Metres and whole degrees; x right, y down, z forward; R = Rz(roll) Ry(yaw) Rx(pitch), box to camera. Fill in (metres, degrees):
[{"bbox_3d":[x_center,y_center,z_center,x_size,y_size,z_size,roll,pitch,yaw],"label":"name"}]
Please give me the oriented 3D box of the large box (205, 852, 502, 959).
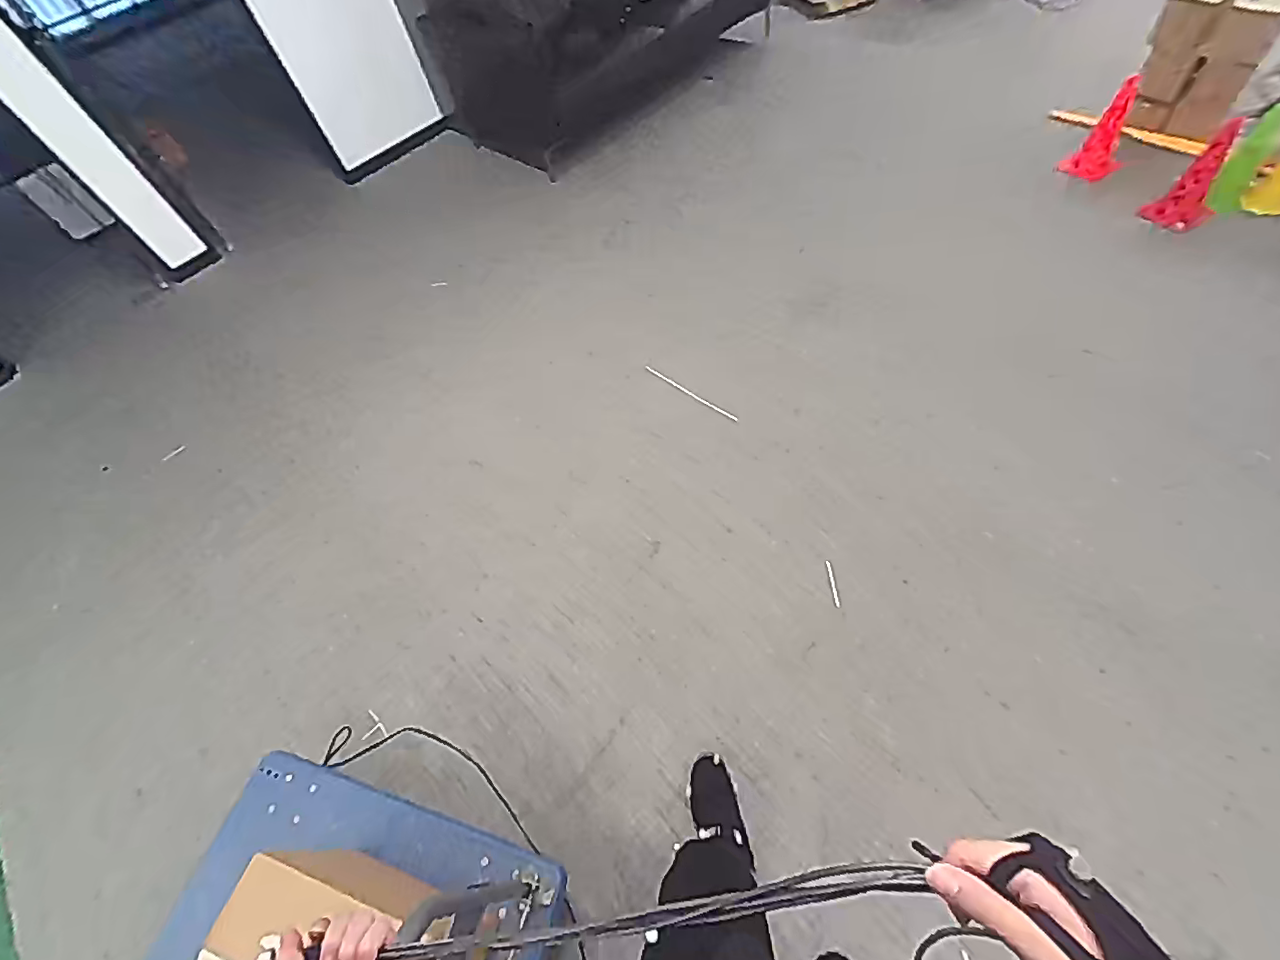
[{"bbox_3d":[-0.537,0.936,1.004,0.408,0.320,0.320,9,58,18],"label":"large box"}]
